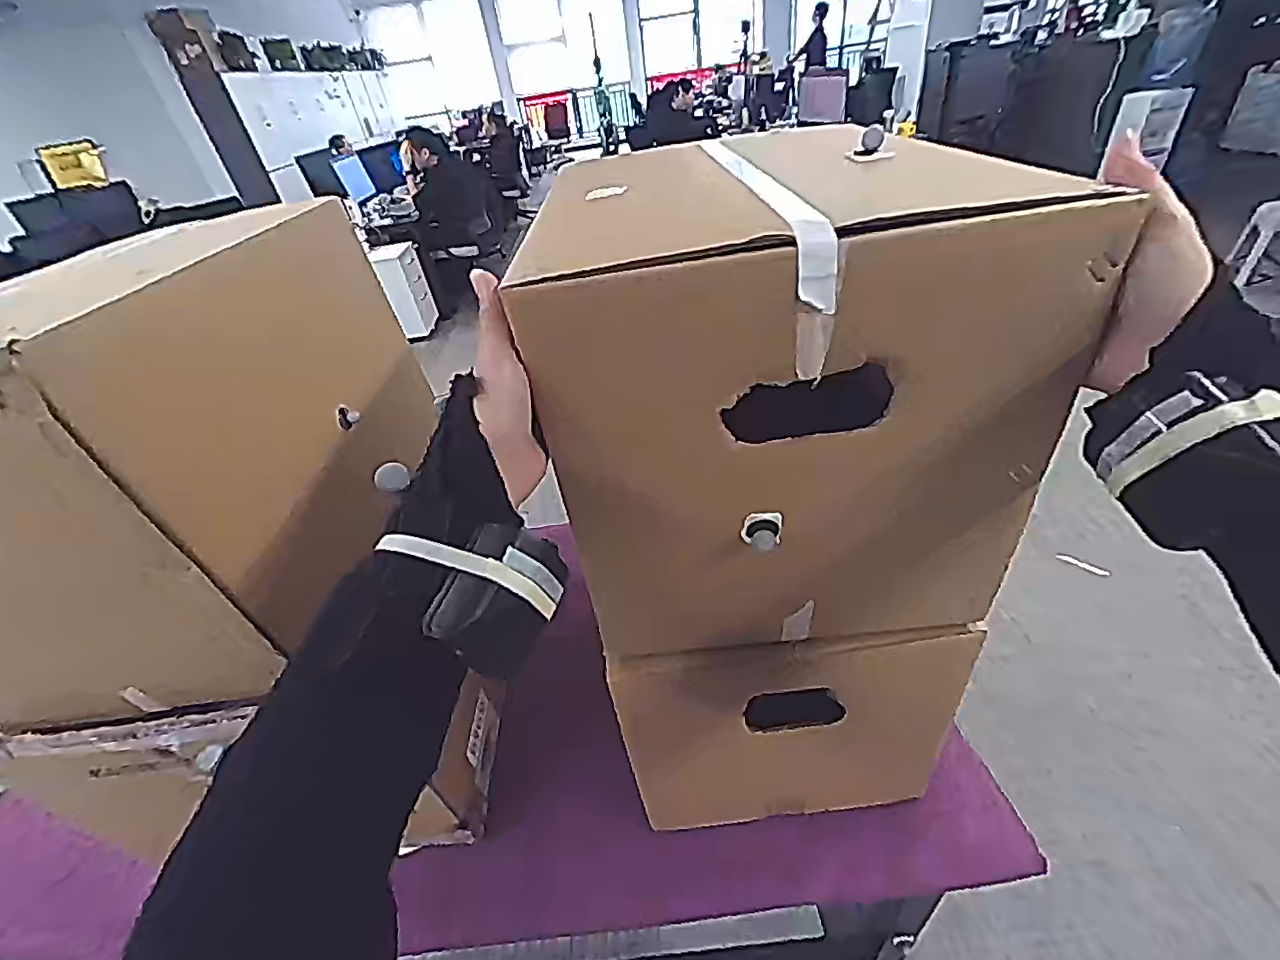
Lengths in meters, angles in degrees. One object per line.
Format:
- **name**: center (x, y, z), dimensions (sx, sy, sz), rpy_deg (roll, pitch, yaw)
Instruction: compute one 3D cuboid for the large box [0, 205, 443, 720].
- **large box**: center (-0.441, -0.041, 0.542), dimensions (0.320, 0.320, 0.408), rpy_deg (-11, 37, 6)
